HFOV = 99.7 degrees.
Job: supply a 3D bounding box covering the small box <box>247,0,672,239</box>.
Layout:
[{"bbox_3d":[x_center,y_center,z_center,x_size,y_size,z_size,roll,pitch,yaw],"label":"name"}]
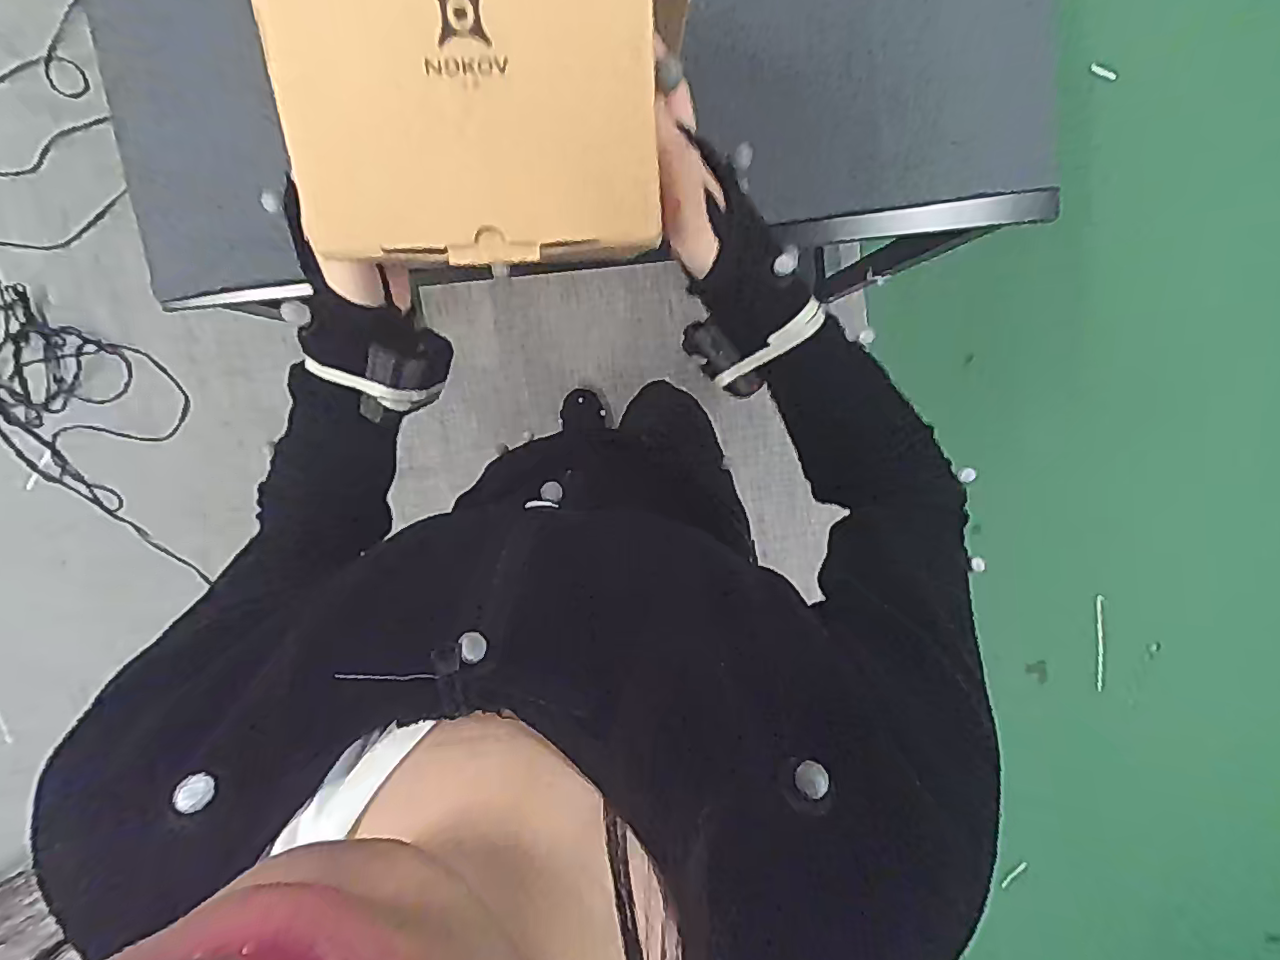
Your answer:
[{"bbox_3d":[-0.078,-0.230,0.283,0.168,0.176,0.179,-5,112,-3],"label":"small box"}]
